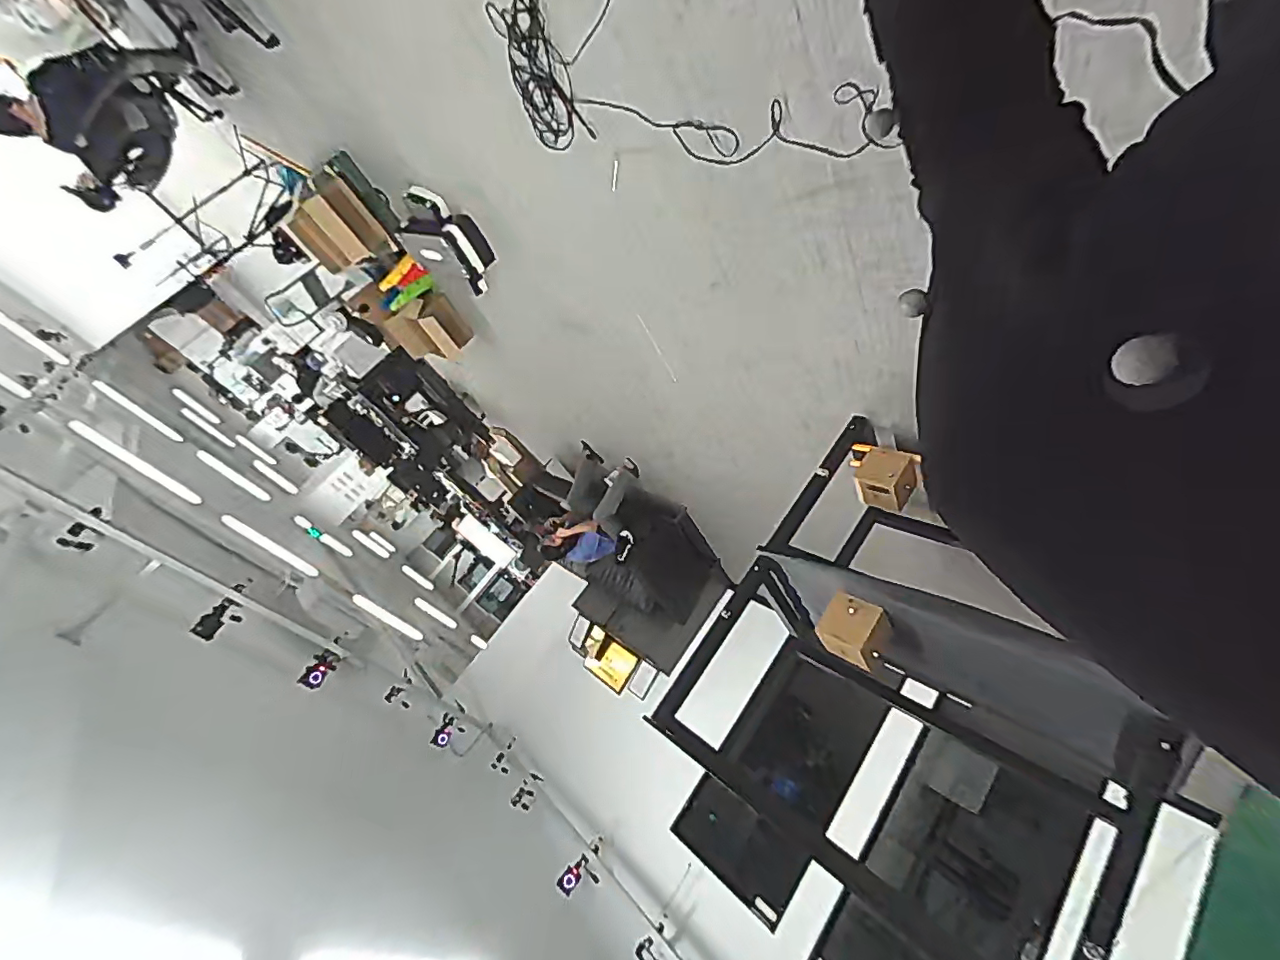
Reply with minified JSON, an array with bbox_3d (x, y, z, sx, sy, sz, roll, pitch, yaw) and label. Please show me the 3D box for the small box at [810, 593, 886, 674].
[{"bbox_3d":[0.707,0.514,1.824,0.168,0.176,0.179,18,153,46],"label":"small box"}]
